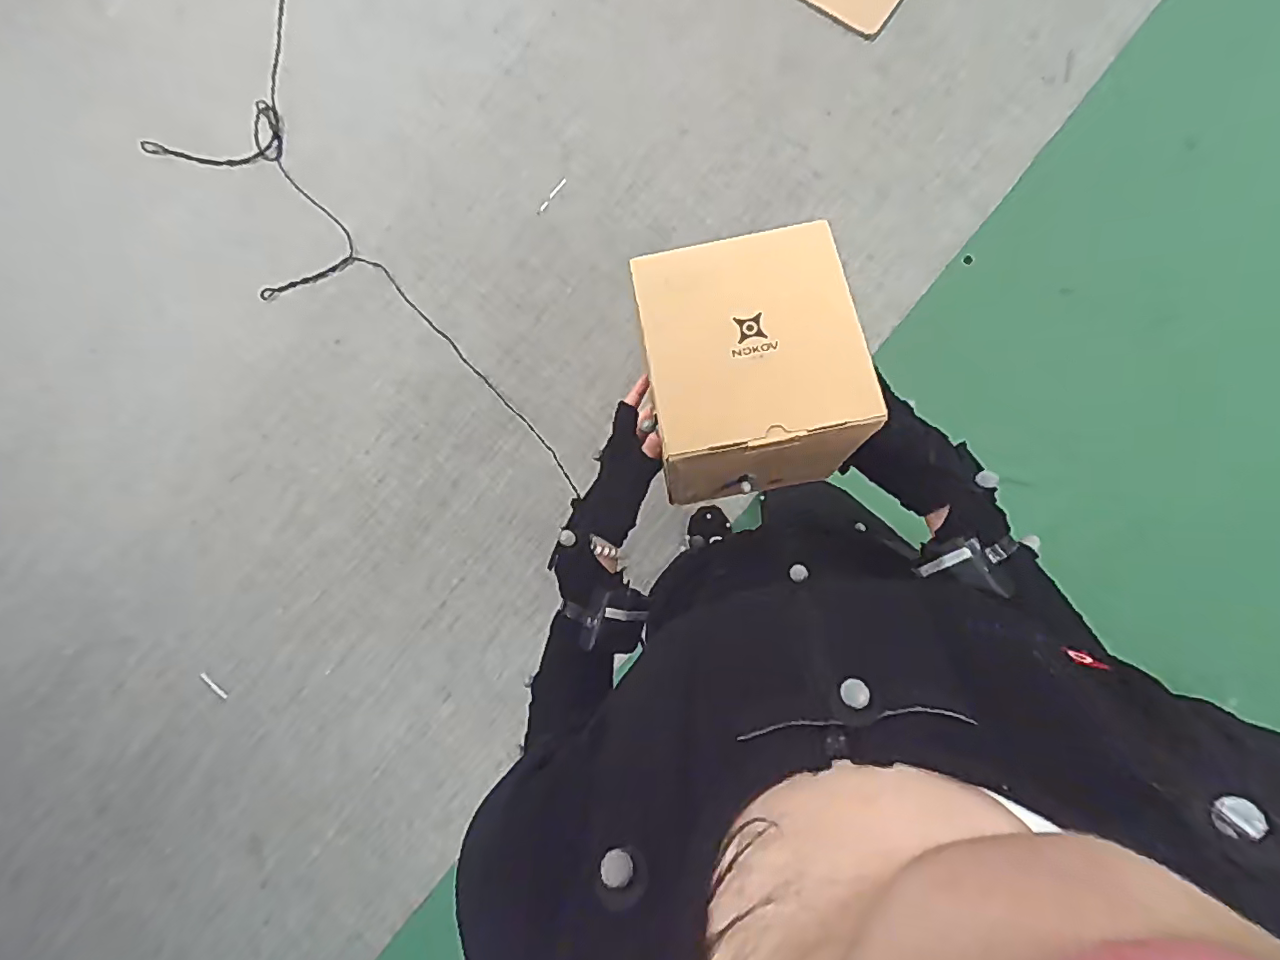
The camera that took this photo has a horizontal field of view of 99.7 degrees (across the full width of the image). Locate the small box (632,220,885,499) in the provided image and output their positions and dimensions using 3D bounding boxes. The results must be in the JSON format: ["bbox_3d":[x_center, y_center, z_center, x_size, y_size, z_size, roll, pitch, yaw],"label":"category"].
[{"bbox_3d":[0.090,-0.095,0.494,0.168,0.176,0.179,-11,76,2],"label":"small box"}]
